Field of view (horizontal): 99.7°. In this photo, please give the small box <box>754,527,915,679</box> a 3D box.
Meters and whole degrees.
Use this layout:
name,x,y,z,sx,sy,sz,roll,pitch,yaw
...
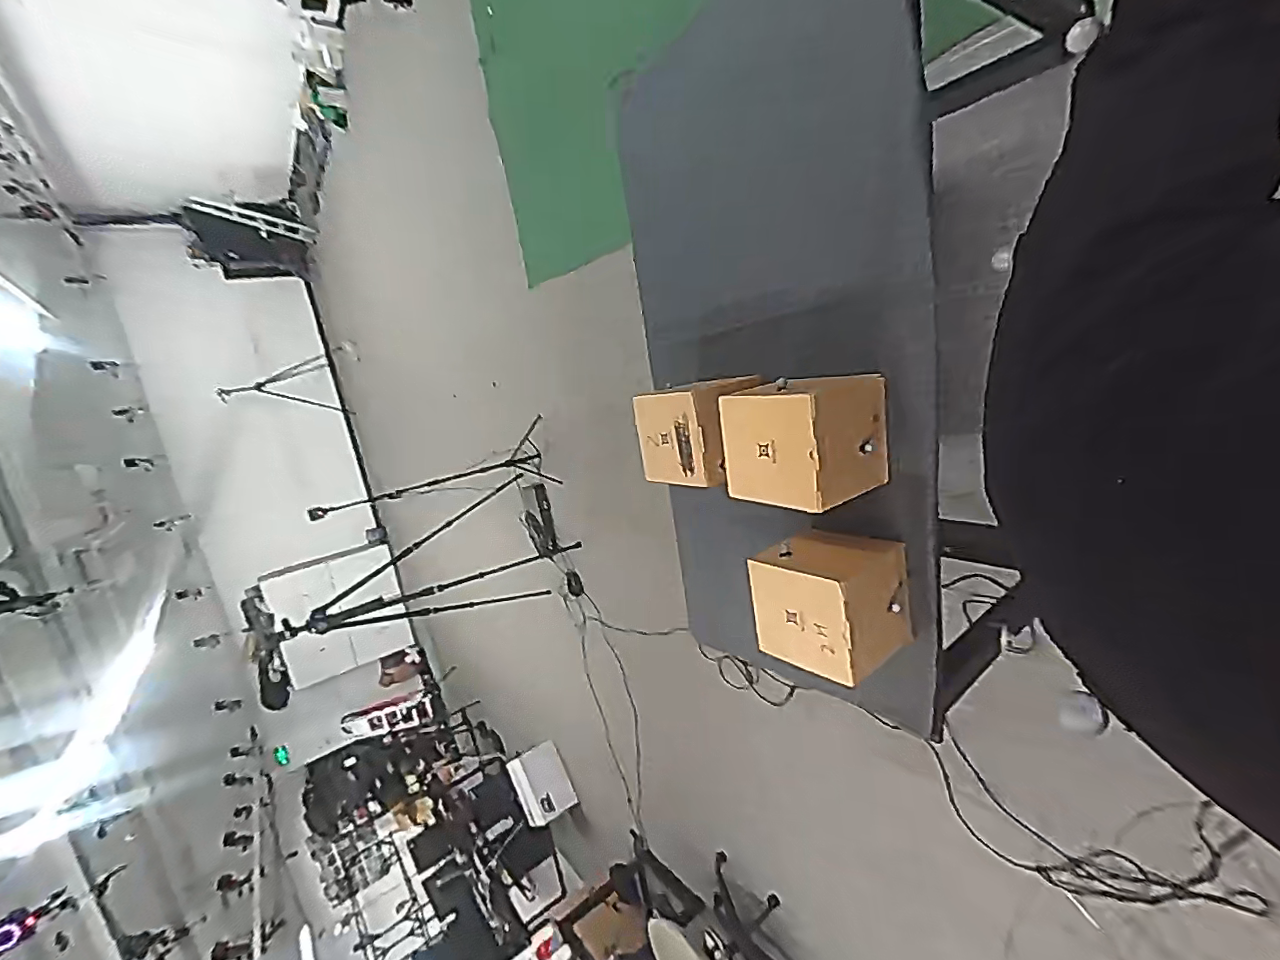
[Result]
name,x,y,z,sx,sy,sz,roll,pitch,yaw
small box,0.310,0.181,0.866,0.179,0.176,0.168,6,110,53
